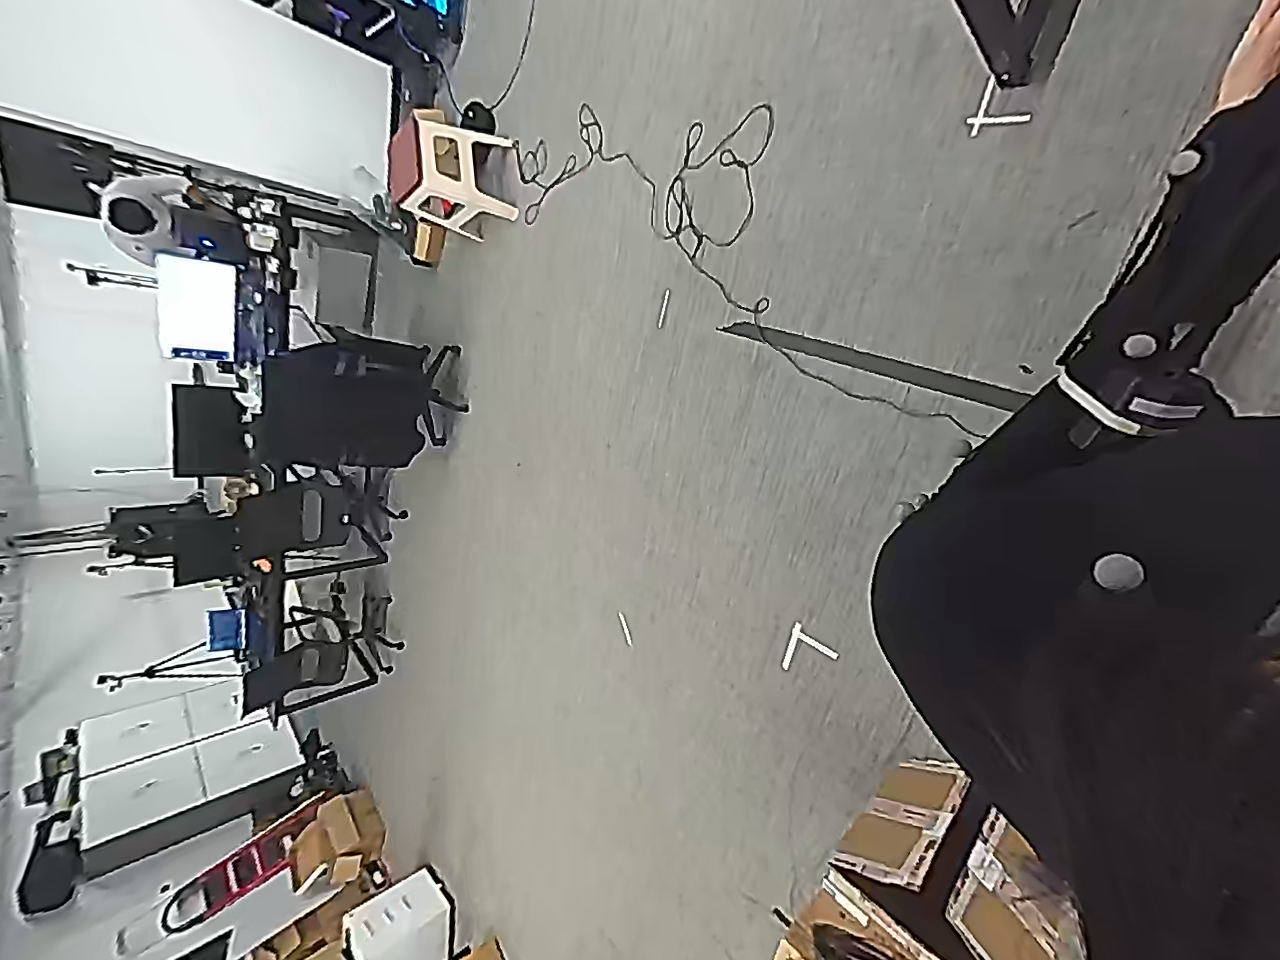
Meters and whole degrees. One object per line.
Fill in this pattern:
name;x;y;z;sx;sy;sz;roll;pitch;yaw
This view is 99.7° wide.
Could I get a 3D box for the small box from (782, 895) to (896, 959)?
small box;0.396;1.017;1.102;0.168;0.176;0.179;26;113;43
